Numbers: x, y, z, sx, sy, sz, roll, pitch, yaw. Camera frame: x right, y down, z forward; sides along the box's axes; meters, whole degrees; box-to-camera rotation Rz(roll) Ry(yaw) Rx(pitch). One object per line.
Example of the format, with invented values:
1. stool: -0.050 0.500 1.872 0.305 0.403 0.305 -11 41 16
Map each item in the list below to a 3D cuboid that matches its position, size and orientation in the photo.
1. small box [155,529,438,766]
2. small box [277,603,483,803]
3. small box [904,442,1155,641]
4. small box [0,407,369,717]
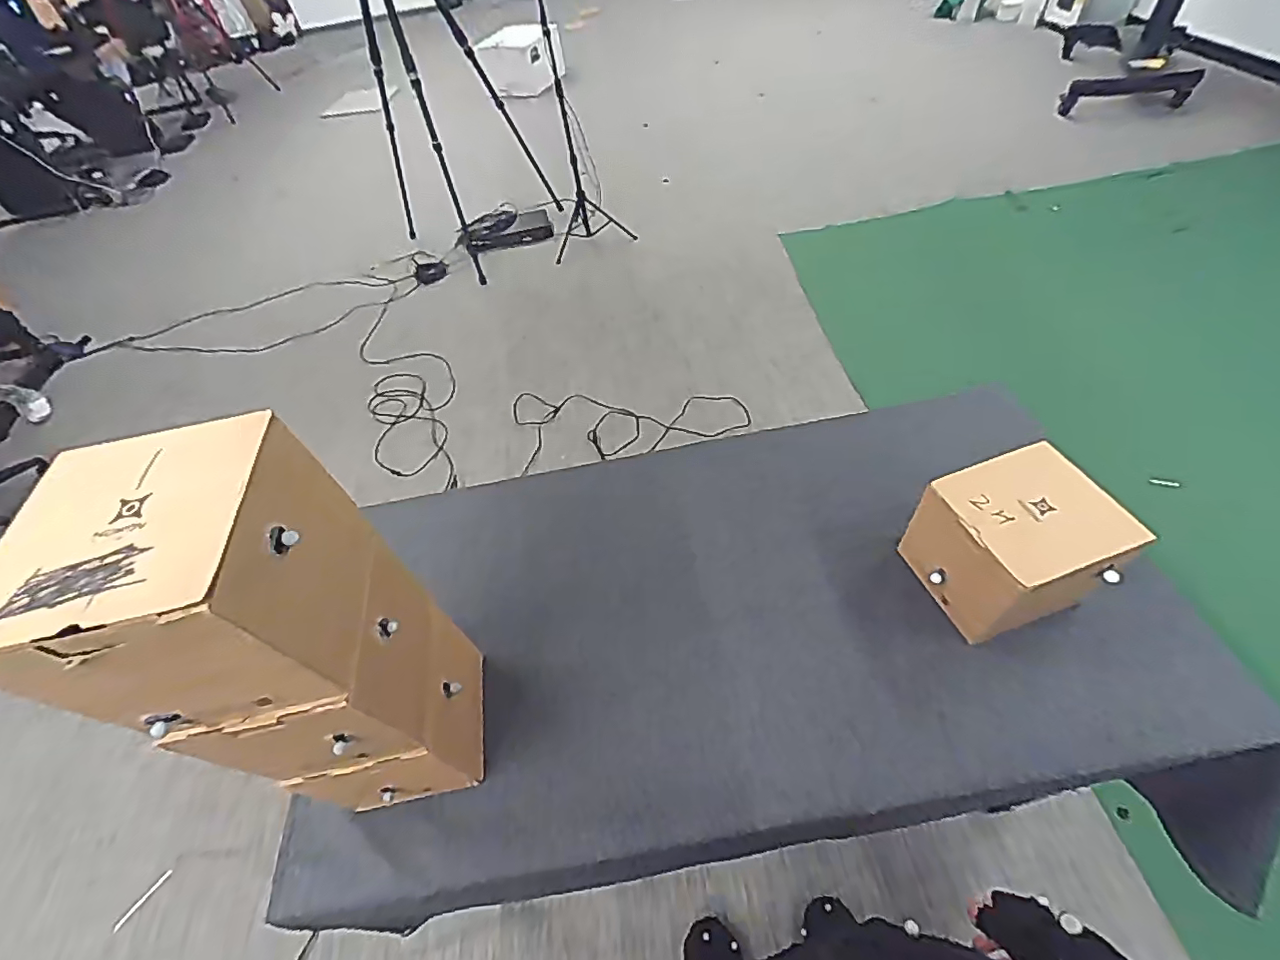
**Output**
1. small box: -0.323 0.180 0.557 0.168 0.176 0.179 -11 51 -1
2. small box: -0.306 0.283 0.681 0.168 0.176 0.179 -12 52 -1
3. small box: 0.485 0.084 0.710 0.179 0.176 0.168 -19 51 -5
4. small box: -0.343 0.073 0.433 0.168 0.176 0.179 -12 51 -3
